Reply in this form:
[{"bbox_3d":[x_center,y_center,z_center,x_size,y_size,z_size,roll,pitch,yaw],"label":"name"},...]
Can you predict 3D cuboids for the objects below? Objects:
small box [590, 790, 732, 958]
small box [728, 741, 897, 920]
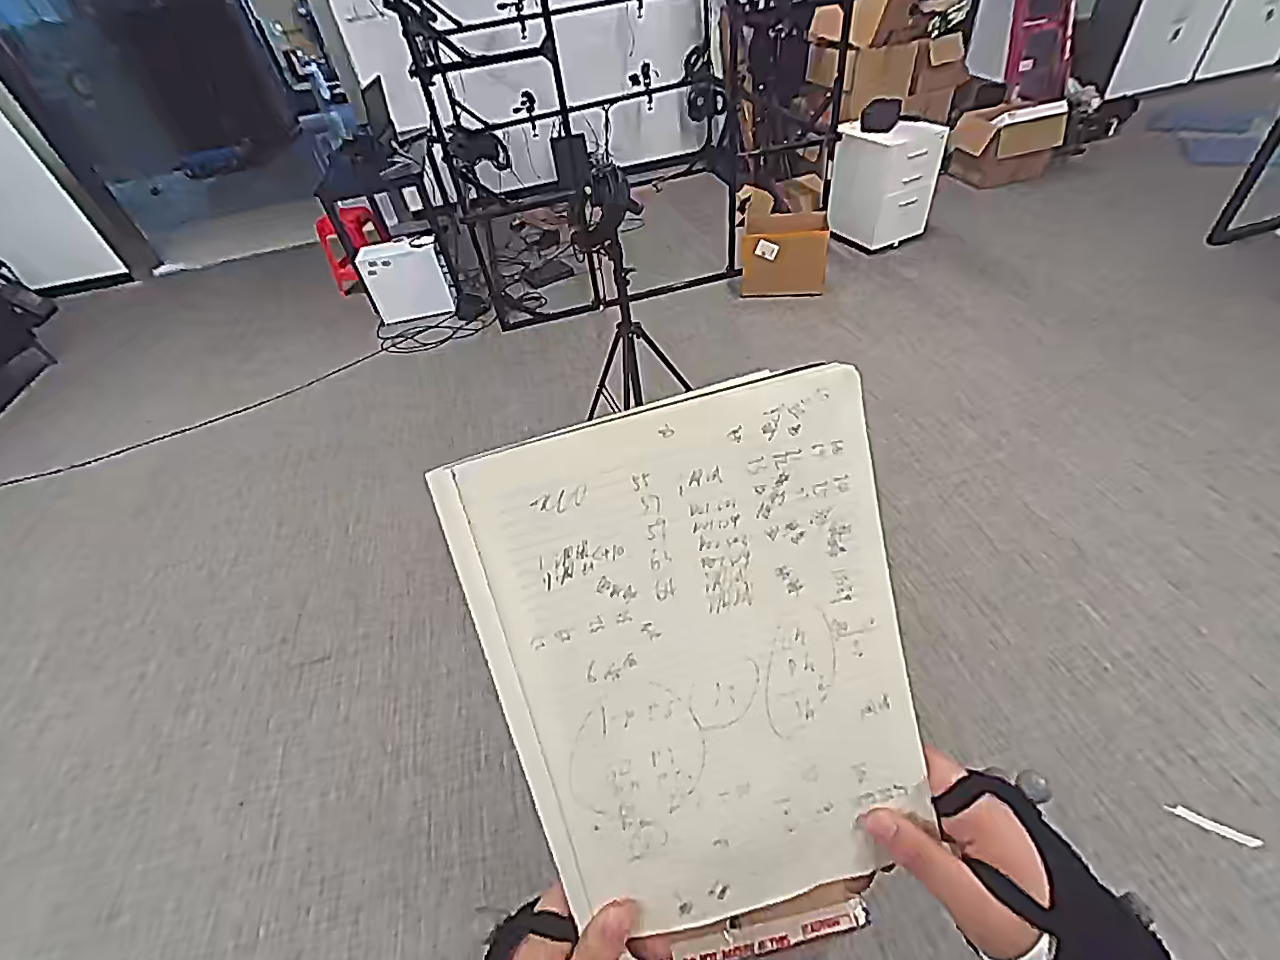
[{"bbox_3d":[0.030,0.575,0.788,0.179,0.176,0.168,-11,46,1],"label":"small box"},{"bbox_3d":[0.240,0.523,0.807,0.179,0.176,0.168,-15,46,-7],"label":"small box"}]
